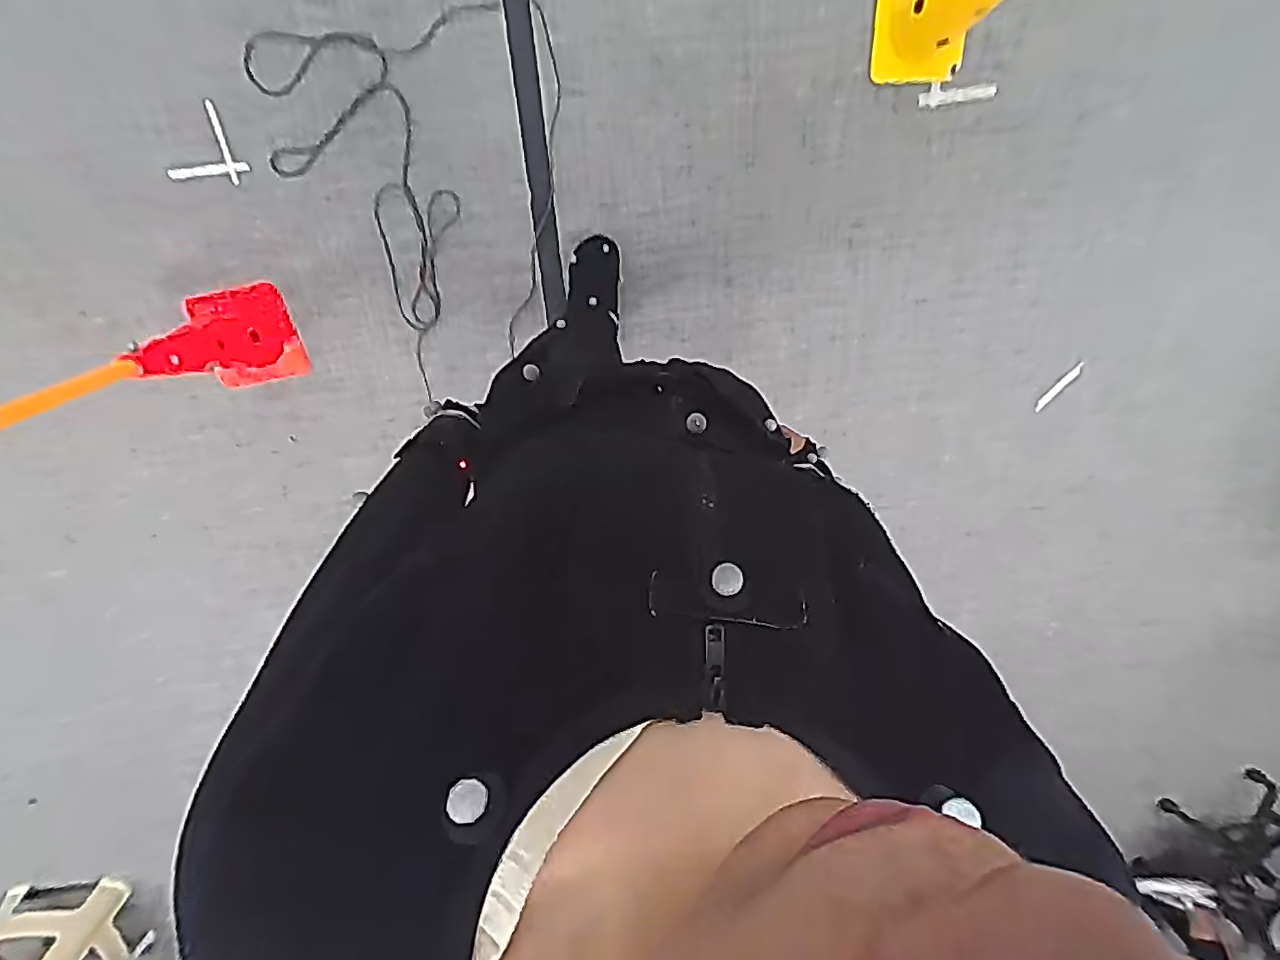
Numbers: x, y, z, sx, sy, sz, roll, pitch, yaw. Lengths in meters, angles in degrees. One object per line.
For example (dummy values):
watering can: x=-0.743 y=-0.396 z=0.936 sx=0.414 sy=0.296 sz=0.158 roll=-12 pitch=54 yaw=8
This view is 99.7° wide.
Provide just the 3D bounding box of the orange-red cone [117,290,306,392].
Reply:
orange-red cone: x=-0.836 y=-0.236 z=1.023 sx=0.199 sy=0.360 sz=0.198 roll=-12 pitch=113 yaw=-3
